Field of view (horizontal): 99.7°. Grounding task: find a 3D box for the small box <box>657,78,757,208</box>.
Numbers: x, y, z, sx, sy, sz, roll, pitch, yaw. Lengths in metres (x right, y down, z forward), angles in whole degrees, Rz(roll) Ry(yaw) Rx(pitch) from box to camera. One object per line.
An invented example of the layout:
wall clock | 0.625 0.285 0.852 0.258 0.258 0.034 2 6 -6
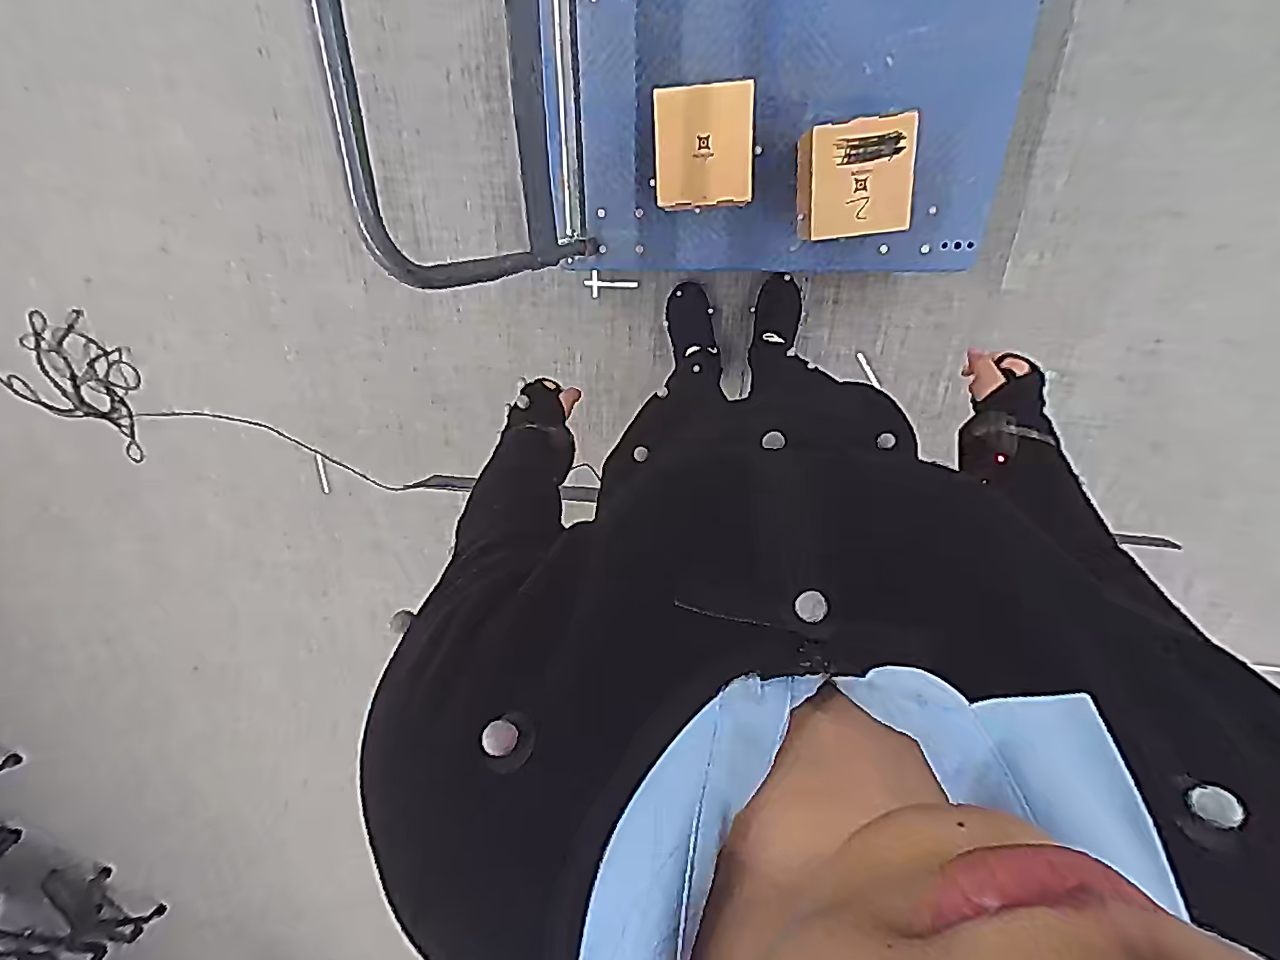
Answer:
small box | 0.119 -0.599 0.982 0.168 0.176 0.179 -1 116 7

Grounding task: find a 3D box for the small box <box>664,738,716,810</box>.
small box | 0.186 1.071 1.971 0.168 0.176 0.179 -7 114 9
